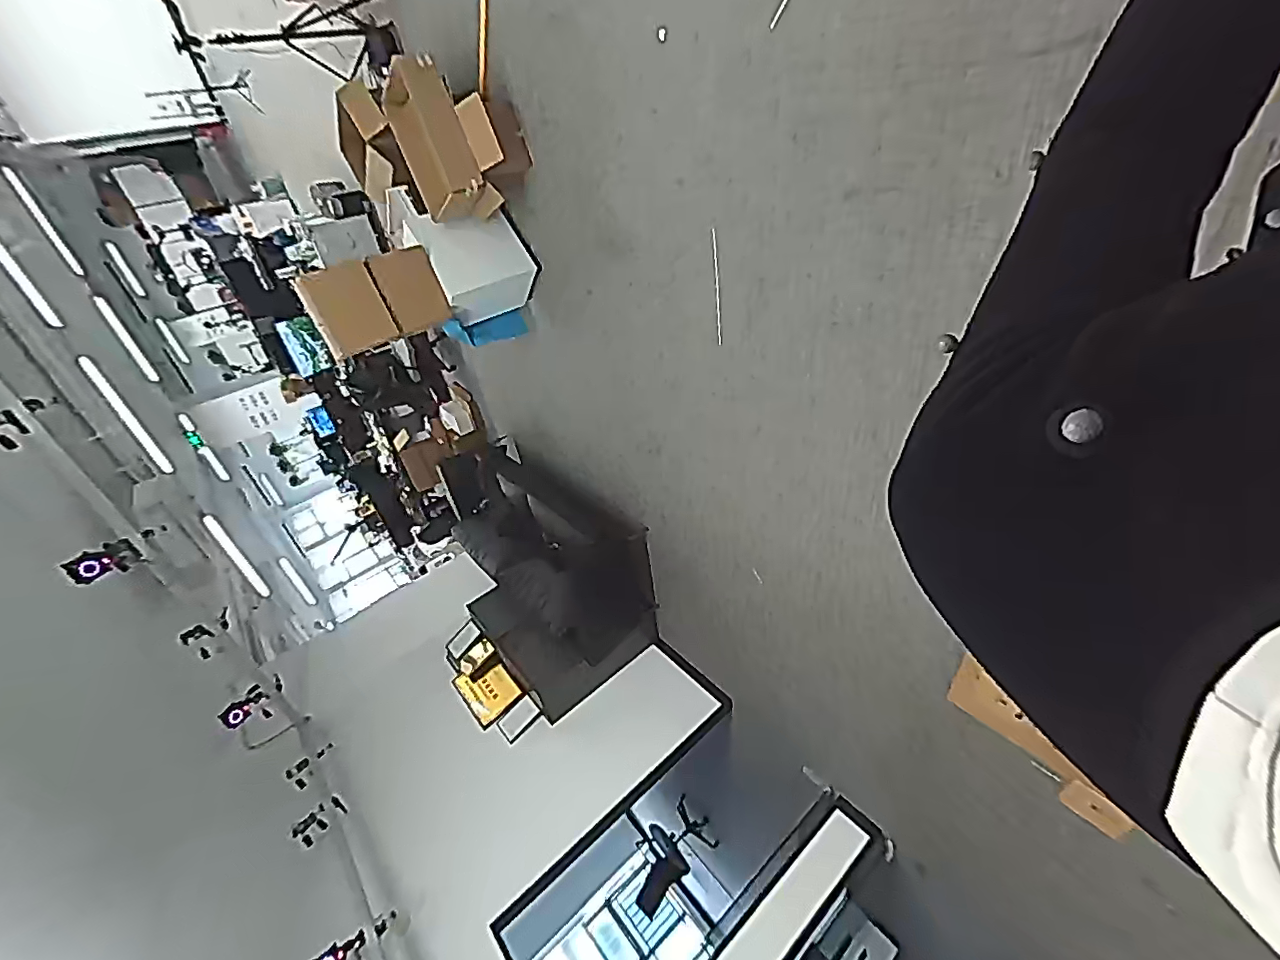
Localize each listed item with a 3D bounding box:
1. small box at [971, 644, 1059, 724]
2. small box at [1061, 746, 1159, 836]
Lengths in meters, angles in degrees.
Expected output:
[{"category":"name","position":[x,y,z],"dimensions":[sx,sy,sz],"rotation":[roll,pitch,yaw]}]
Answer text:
[{"category":"small box","position":[1.316,0.707,1.900],"dimensions":[0.179,0.176,0.168],"rotation":[34,144,38]},{"category":"small box","position":[1.563,1.024,1.802],"dimensions":[0.179,0.176,0.168],"rotation":[33,143,39]}]
